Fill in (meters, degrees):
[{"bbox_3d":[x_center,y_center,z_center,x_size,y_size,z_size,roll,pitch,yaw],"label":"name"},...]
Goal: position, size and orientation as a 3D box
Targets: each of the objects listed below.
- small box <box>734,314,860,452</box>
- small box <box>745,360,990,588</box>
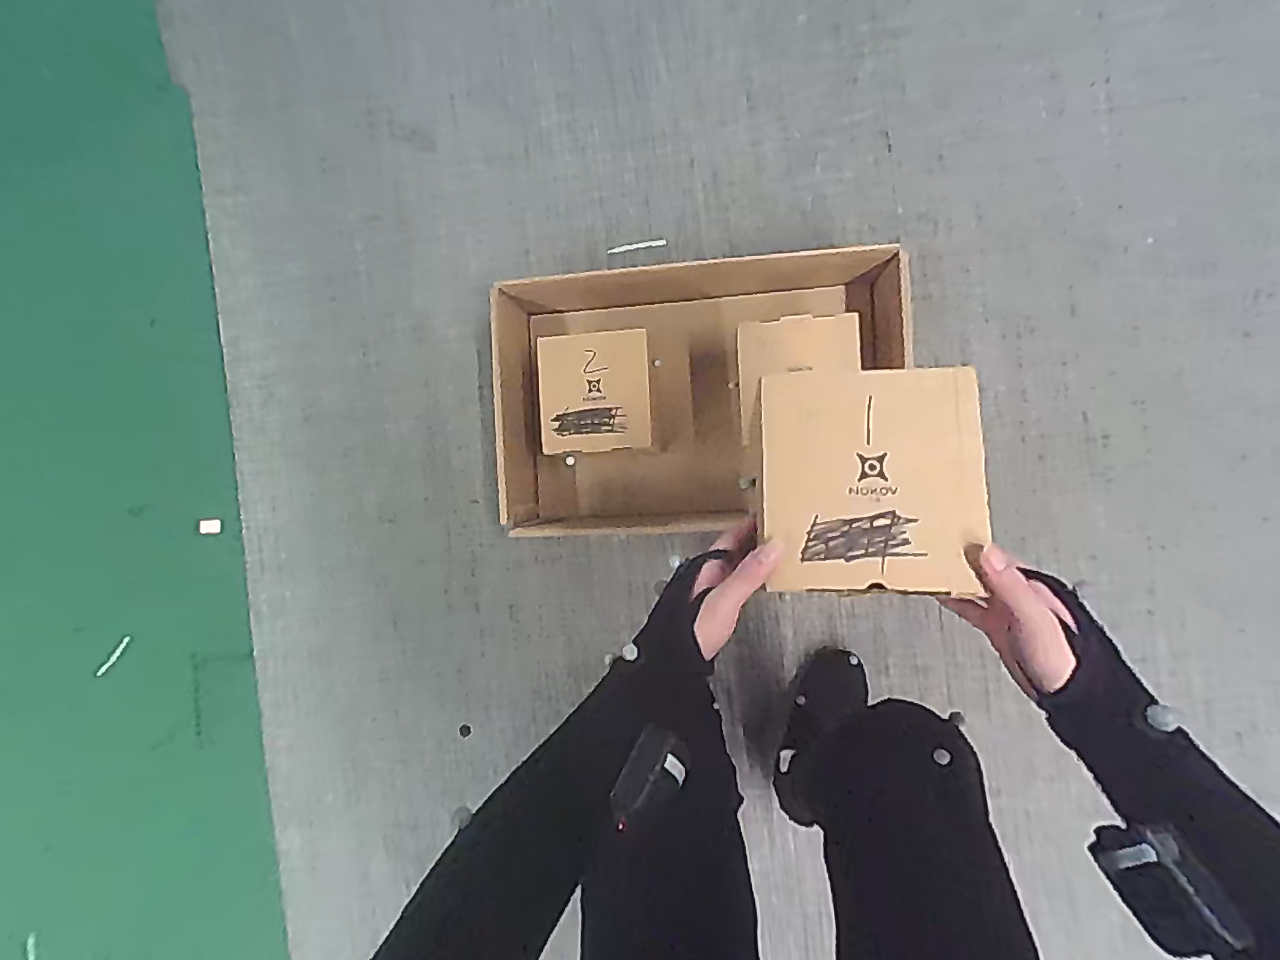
[{"bbox_3d":[0.230,-0.137,0.824,0.168,0.176,0.179,-2,90,9],"label":"small box"},{"bbox_3d":[0.186,0.005,0.494,0.168,0.176,0.179,0,80,7],"label":"small box"}]
